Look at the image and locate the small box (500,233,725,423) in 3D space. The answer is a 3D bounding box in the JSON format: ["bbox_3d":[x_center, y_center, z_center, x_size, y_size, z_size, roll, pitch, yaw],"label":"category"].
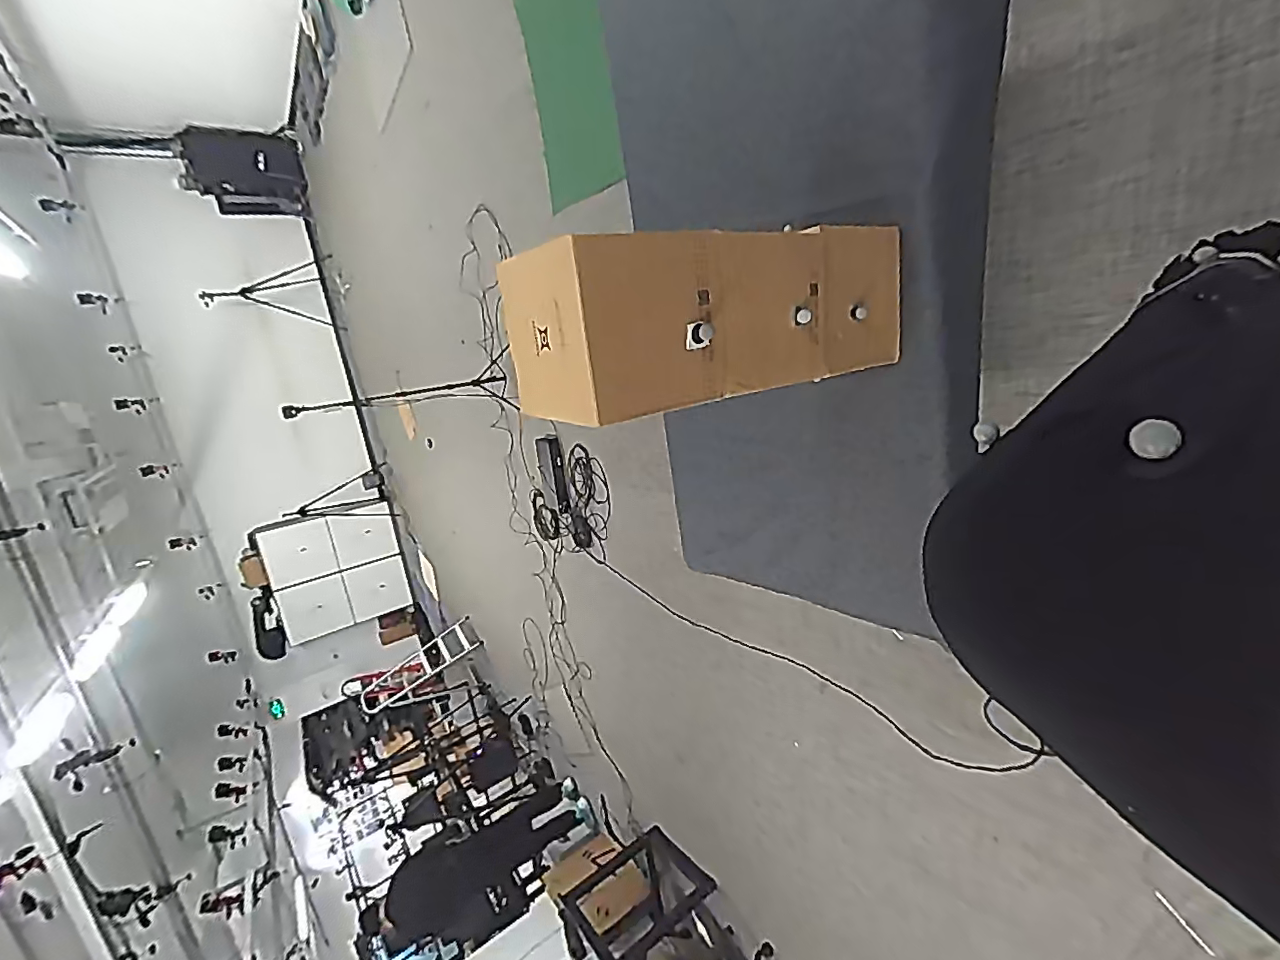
[{"bbox_3d":[-0.030,-0.165,0.589,0.179,0.176,0.168,16,119,53],"label":"small box"}]

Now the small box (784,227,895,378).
[{"bbox_3d":[0.237,-0.245,0.759,0.168,0.176,0.179,14,117,54],"label":"small box"}]

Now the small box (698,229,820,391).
[{"bbox_3d":[0.100,-0.206,0.676,0.179,0.176,0.168,15,117,56],"label":"small box"}]
